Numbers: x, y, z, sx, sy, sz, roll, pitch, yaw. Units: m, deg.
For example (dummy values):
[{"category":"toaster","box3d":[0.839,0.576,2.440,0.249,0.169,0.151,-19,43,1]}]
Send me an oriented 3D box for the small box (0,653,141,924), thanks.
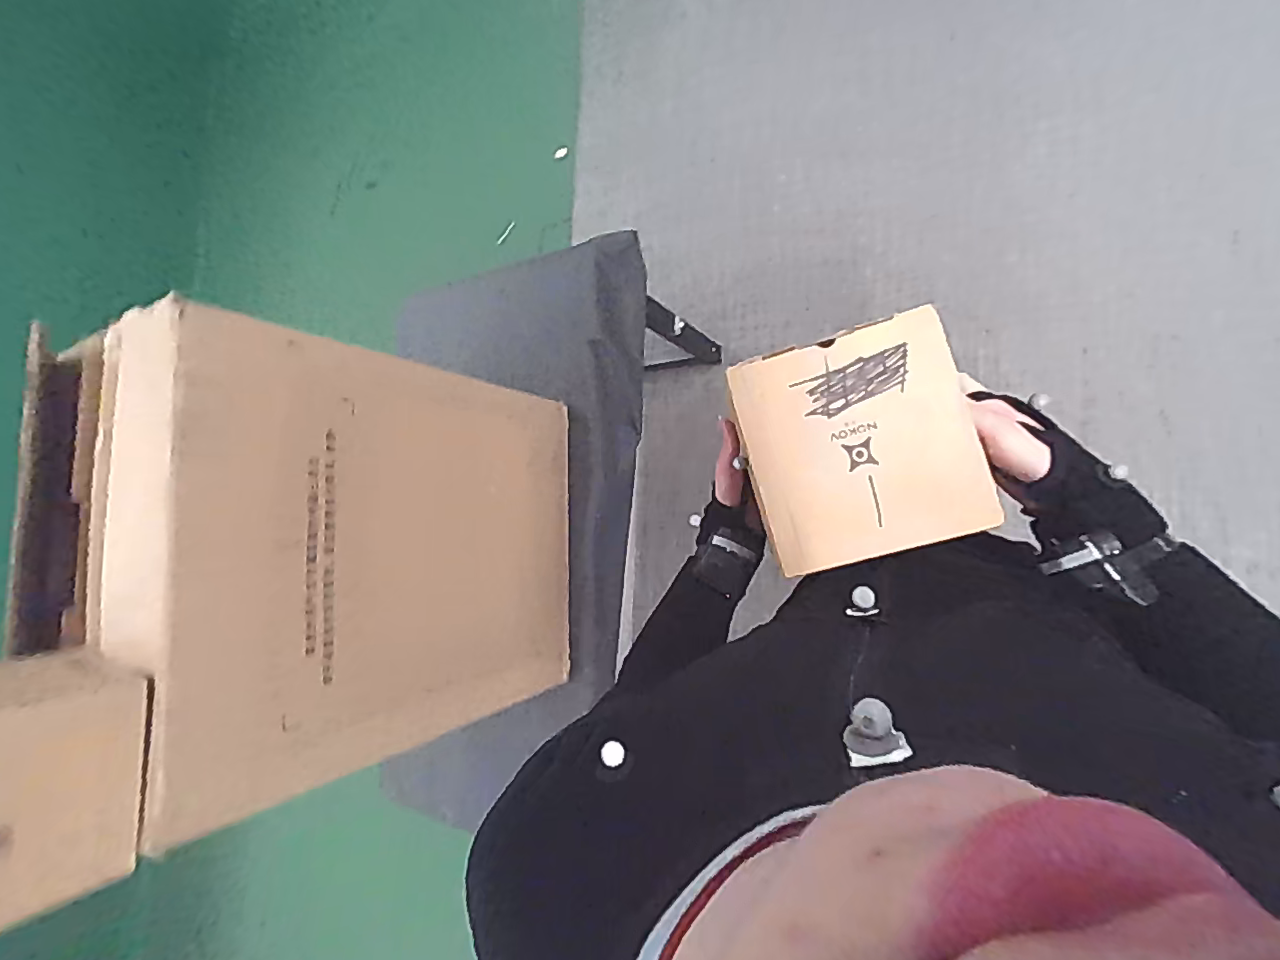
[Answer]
[{"category":"small box","box3d":[-0.570,0.269,0.465,0.168,0.176,0.179,2,90,28]}]
